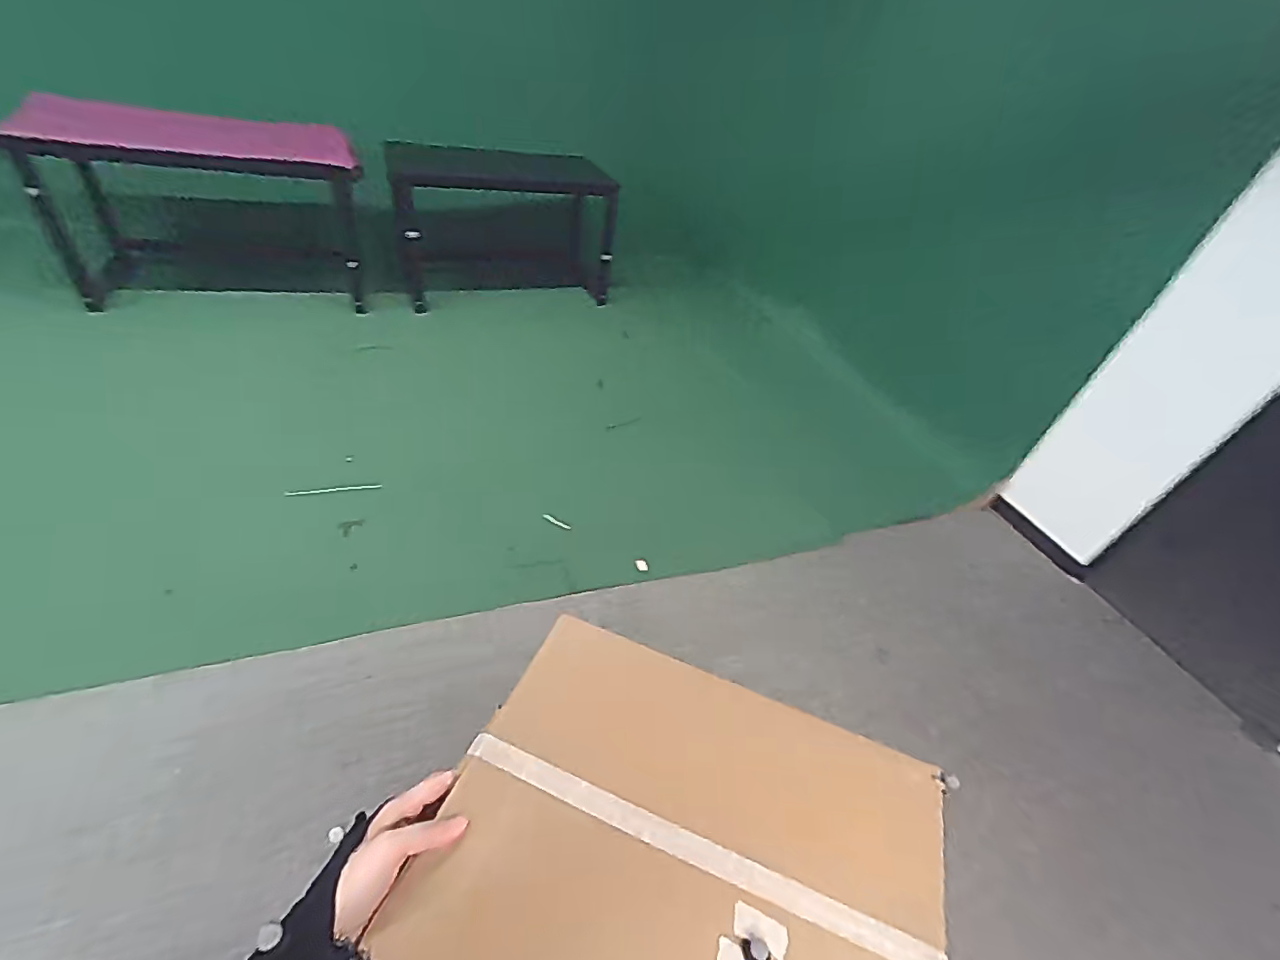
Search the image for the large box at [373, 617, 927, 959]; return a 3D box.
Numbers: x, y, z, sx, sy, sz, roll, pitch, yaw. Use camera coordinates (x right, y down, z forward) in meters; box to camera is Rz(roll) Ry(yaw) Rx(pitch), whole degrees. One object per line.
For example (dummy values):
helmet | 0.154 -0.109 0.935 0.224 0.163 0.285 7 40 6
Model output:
large box | 0.023 0.411 0.559 0.408 0.320 0.320 19 44 12
